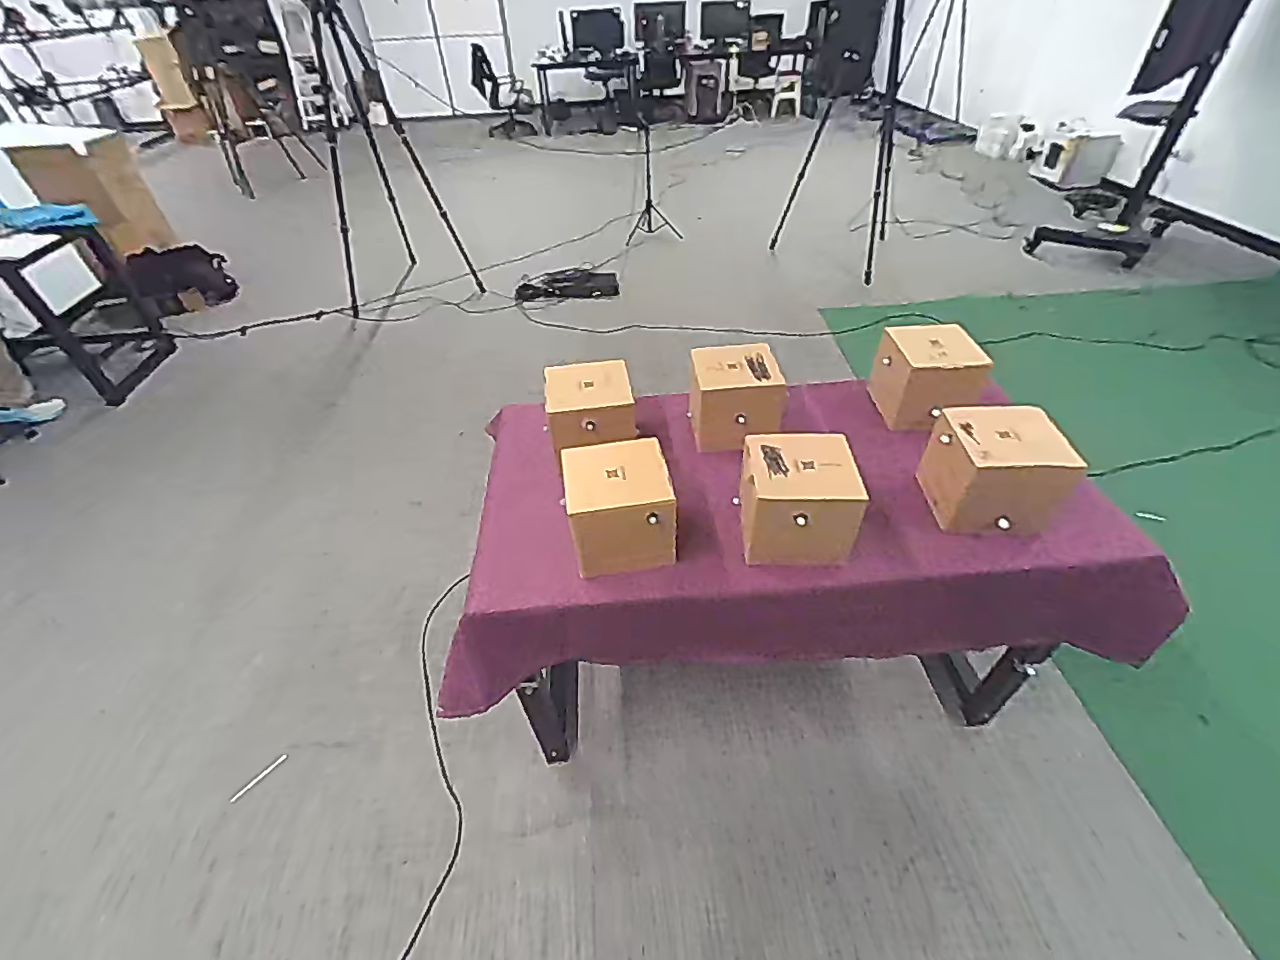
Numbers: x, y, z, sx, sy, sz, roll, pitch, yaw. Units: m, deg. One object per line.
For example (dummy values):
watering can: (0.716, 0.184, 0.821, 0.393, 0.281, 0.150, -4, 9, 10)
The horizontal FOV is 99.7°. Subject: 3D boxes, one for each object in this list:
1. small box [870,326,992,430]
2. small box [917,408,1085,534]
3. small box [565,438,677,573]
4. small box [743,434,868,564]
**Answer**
small box: (0.642, -0.230, 1.222, 0.168, 0.176, 0.179, -2, 44, 2)
small box: (0.646, -0.015, 0.994, 0.179, 0.176, 0.168, 1, 43, 4)
small box: (-0.034, 0.048, 0.967, 0.179, 0.176, 0.168, -7, 43, -6)
small box: (0.279, 0.035, 0.962, 0.179, 0.176, 0.168, 1, 43, 3)
